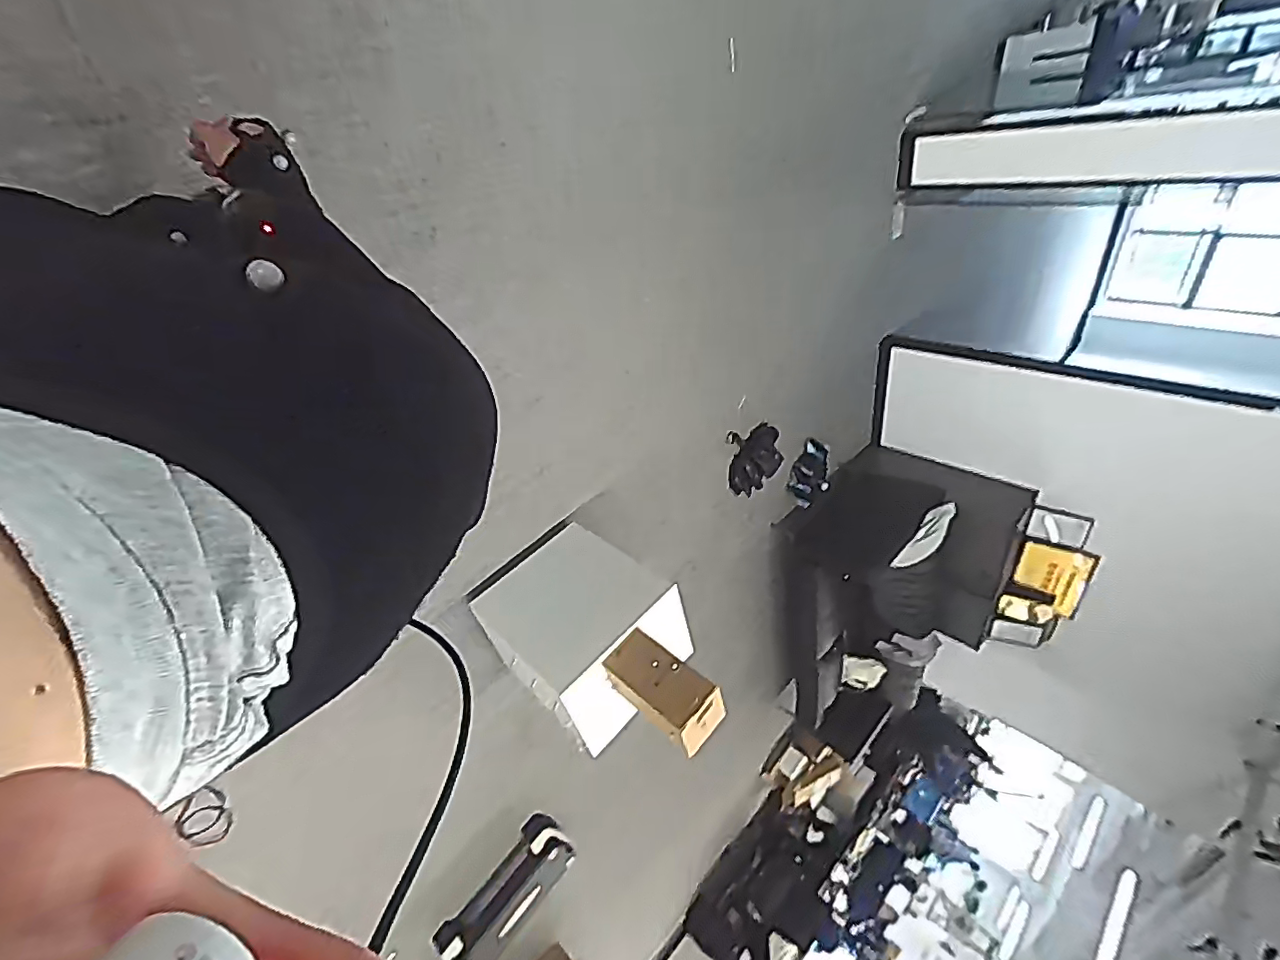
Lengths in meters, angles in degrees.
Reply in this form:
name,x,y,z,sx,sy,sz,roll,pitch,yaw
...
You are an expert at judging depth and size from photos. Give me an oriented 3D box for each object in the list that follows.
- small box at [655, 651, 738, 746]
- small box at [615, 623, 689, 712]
name,x,y,z,sx,sy,sz,roll,pitch,yaw
small box,0.165,0.633,1.587,0.168,0.176,0.179,-42,136,-25
small box,0.050,0.580,1.692,0.168,0.176,0.179,-43,137,-25
